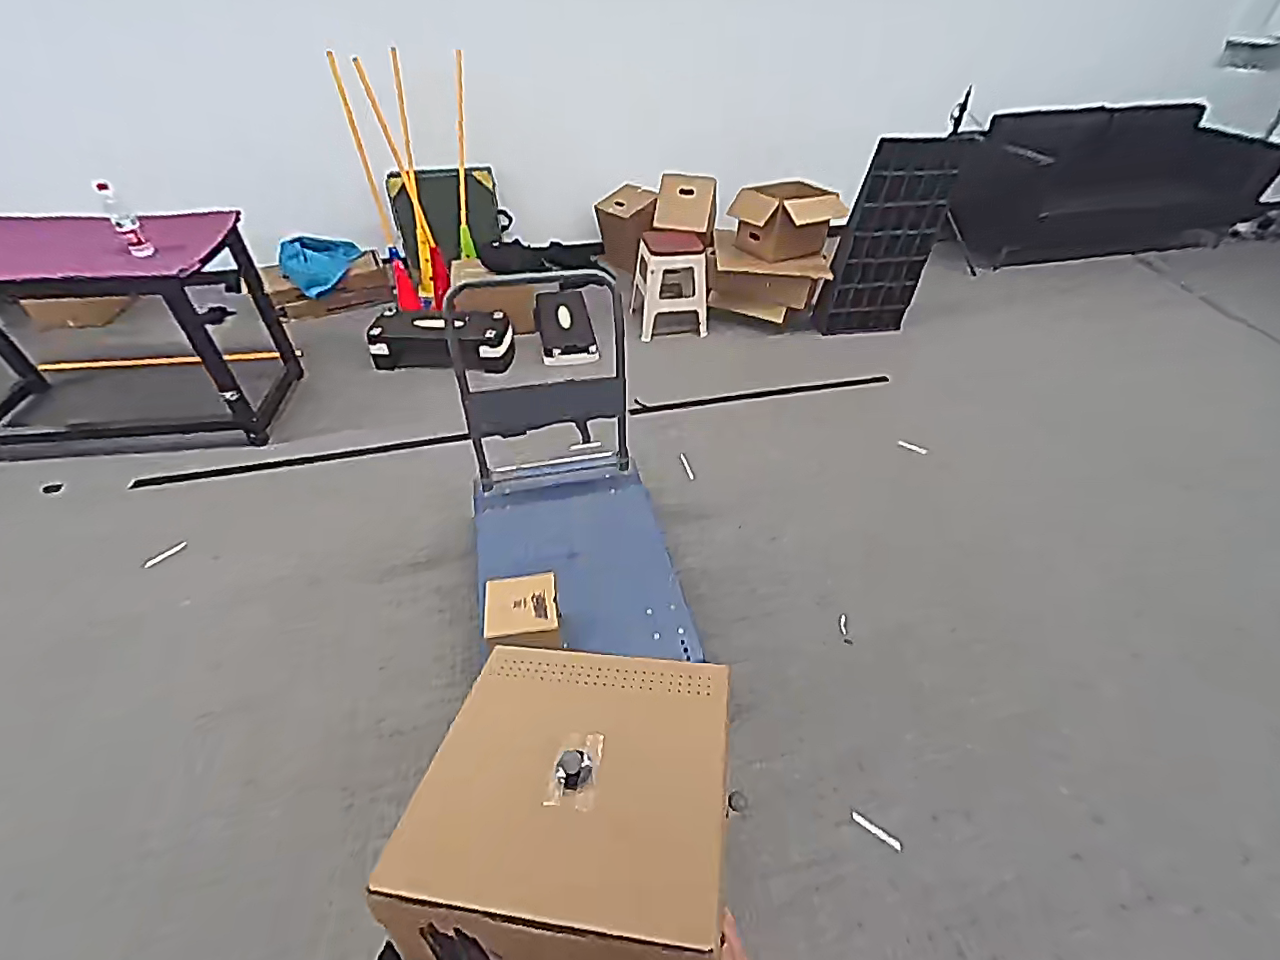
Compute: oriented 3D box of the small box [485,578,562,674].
[{"bbox_3d":[-0.292,0.375,1.384,0.179,0.176,0.168,-6,43,-7],"label":"small box"}]
